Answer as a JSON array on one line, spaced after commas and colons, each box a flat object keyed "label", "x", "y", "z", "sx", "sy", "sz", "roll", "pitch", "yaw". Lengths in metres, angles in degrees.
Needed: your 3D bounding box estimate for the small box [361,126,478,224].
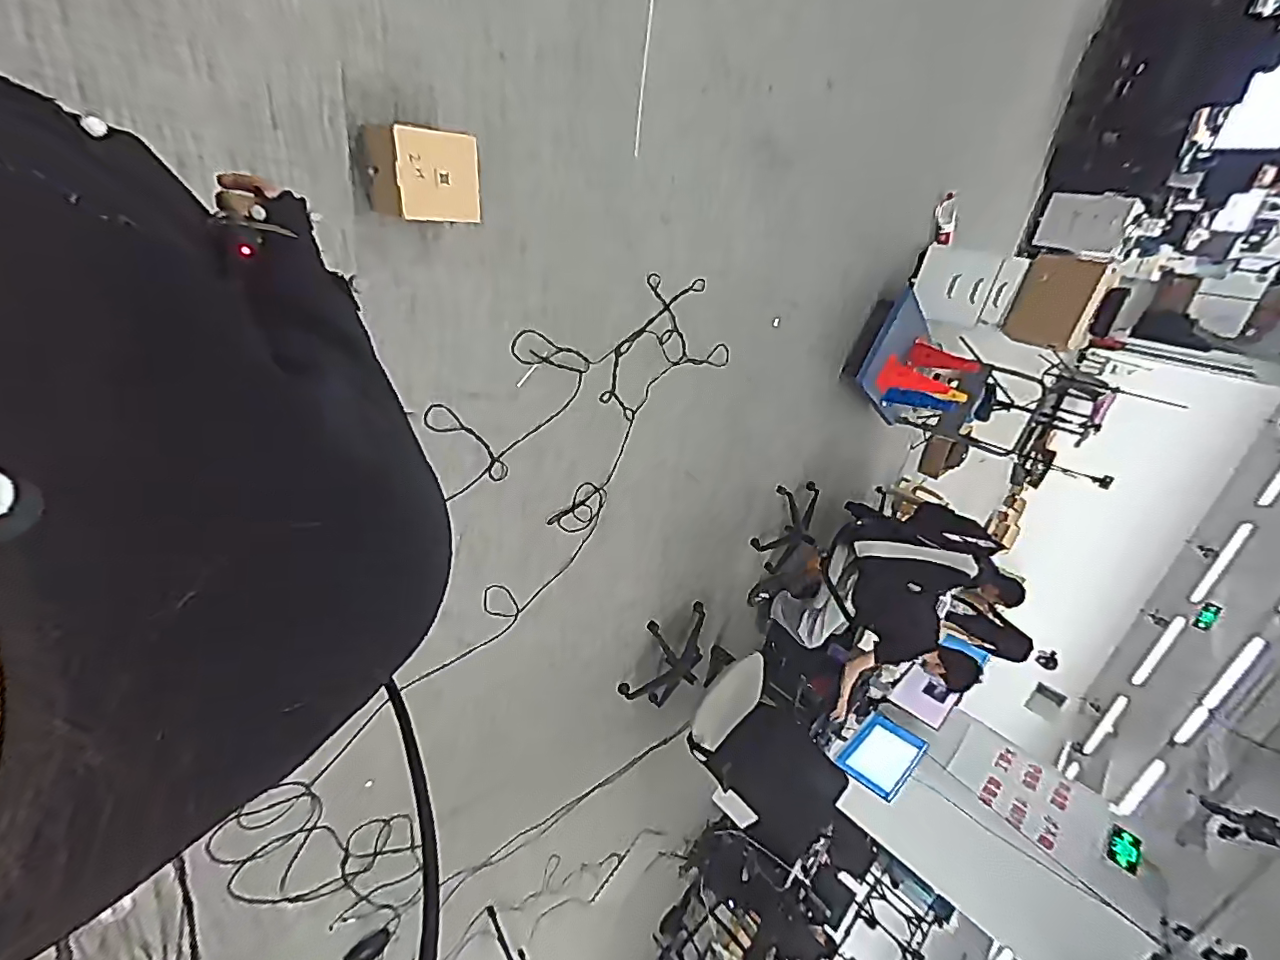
[{"label": "small box", "x": -0.469, "y": -0.652, "z": 1.159, "sx": 0.179, "sy": 0.176, "sz": 0.168, "roll": -20, "pitch": 127, "yaw": -39}]
